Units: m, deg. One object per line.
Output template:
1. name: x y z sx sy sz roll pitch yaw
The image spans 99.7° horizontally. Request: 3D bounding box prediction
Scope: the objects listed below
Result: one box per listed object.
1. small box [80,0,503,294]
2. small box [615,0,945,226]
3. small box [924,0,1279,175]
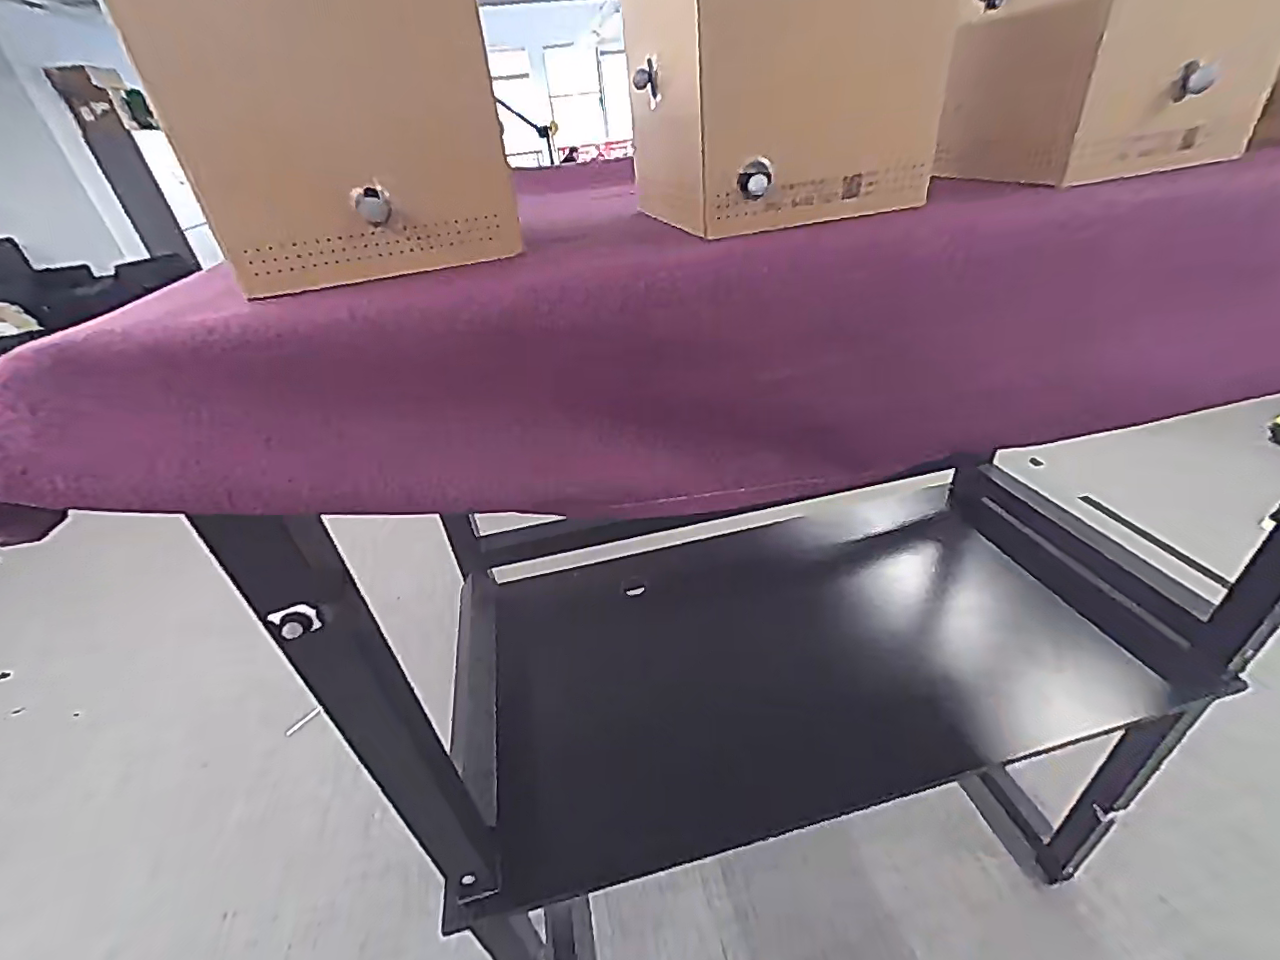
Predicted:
1. small box: -0.197 -0.235 0.355 0.179 0.176 0.168 -17 35 -16
2. small box: 0.088 -0.284 0.378 0.168 0.176 0.179 -13 33 -9
3. small box: 0.341 -0.336 0.409 0.168 0.176 0.179 -13 34 -9
